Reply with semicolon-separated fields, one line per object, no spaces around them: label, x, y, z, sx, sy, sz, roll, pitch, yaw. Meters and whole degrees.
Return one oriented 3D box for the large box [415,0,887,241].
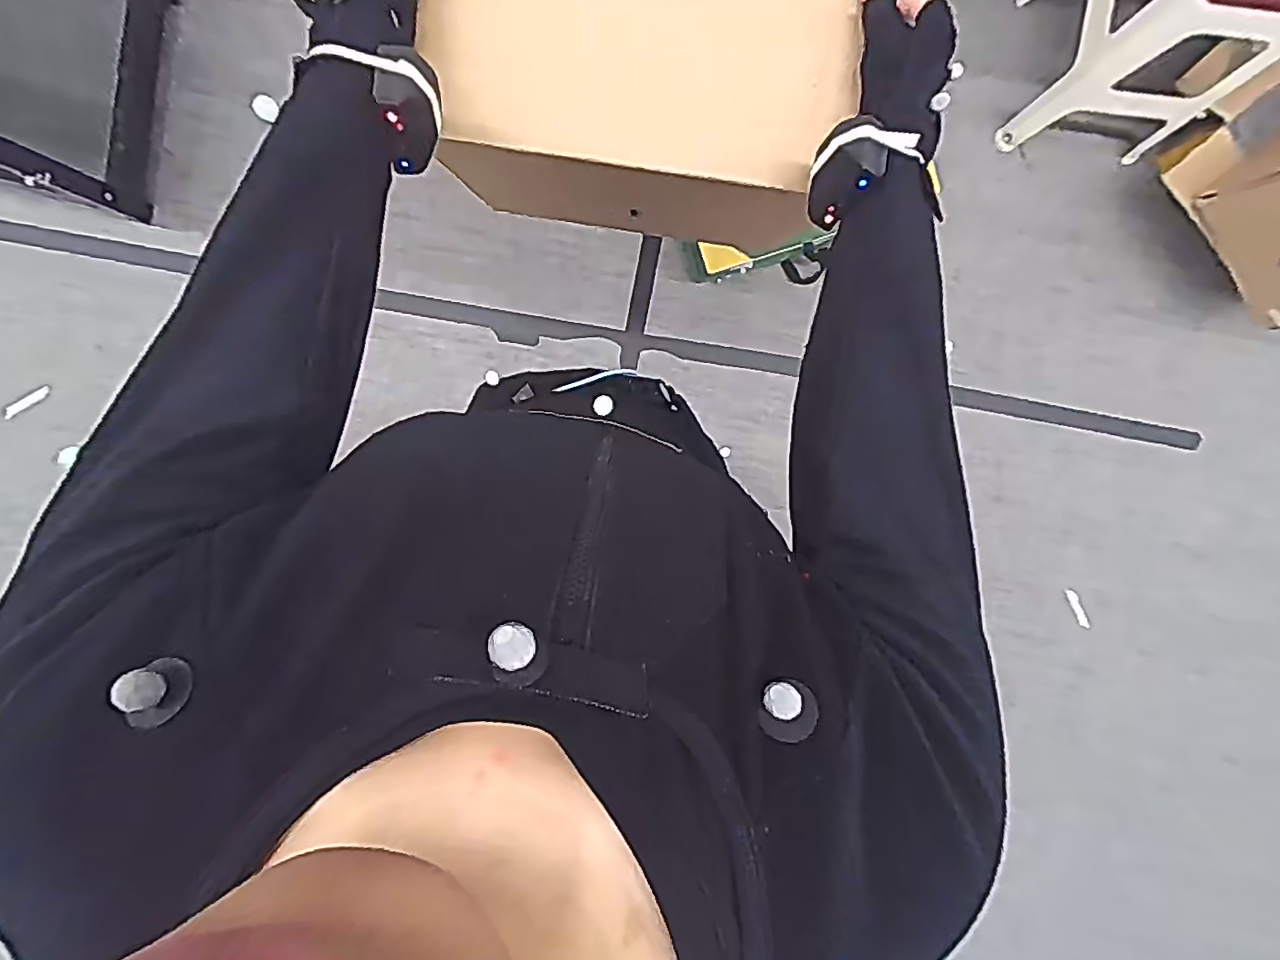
large box;0.015;-0.469;0.594;0.408;0.320;0.320;7;104;-2
